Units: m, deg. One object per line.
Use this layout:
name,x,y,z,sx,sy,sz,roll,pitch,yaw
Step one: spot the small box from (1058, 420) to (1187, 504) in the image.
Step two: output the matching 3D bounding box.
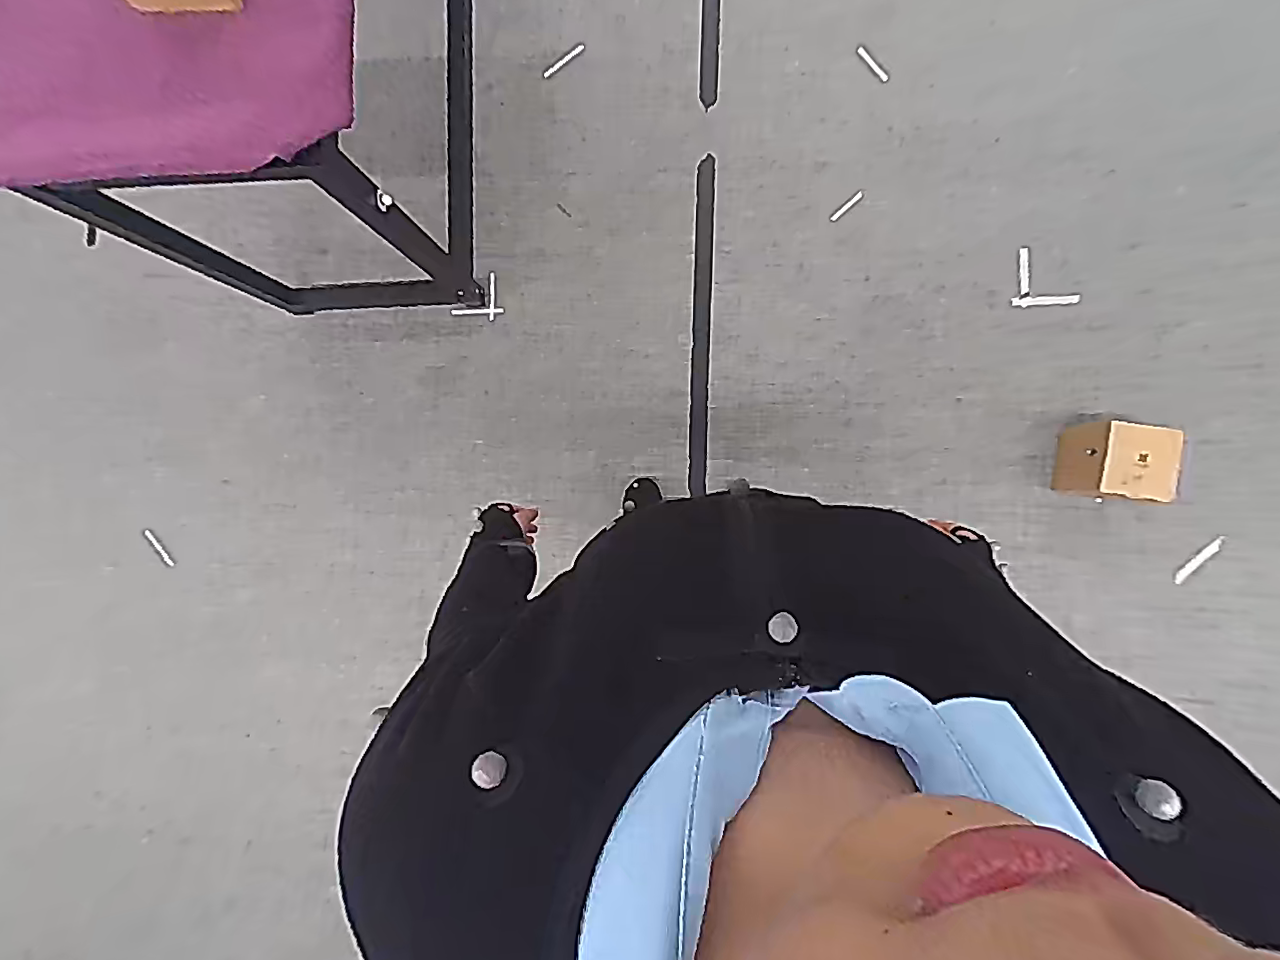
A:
small box,1.193,-0.042,1.351,0.168,0.176,0.179,10,91,5
